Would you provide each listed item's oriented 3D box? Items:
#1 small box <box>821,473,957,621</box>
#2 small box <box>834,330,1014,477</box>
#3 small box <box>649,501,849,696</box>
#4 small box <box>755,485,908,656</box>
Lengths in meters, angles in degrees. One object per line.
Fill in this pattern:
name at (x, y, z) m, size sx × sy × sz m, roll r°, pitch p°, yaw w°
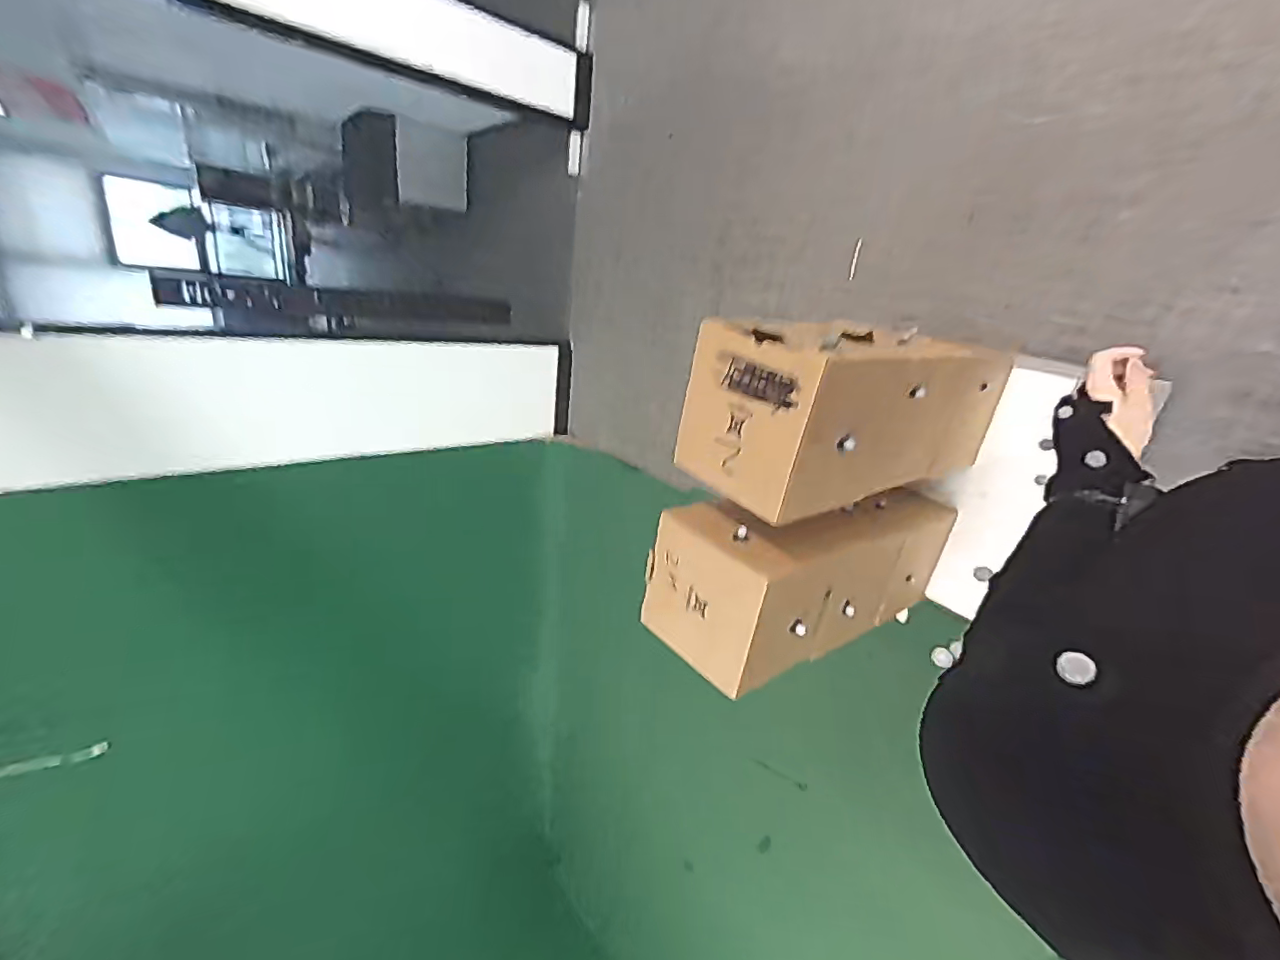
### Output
small box at (0.397, 0.102, 0.908) m, size 0.168 × 0.176 × 0.179 m, roll 30°, pitch 119°, yaw 43°
small box at (0.430, -0.125, 0.819) m, size 0.168 × 0.176 × 0.179 m, roll 31°, pitch 123°, yaw 45°
small box at (0.140, 0.136, 0.704) m, size 0.179 × 0.176 × 0.168 m, roll 30°, pitch 118°, yaw 43°
small box at (0.268, 0.123, 0.807) m, size 0.168 × 0.176 × 0.179 m, roll 30°, pitch 119°, yaw 43°
